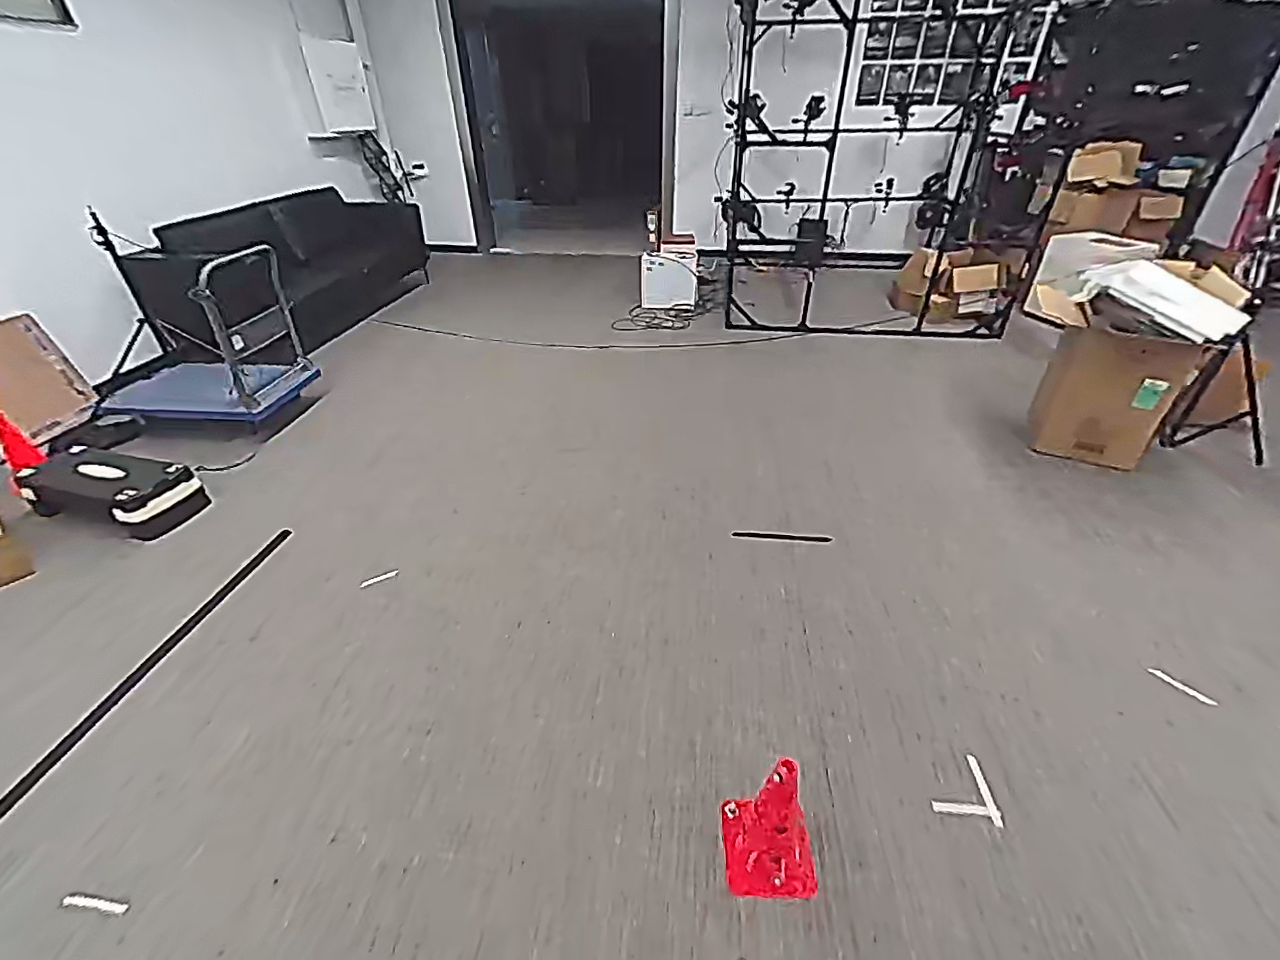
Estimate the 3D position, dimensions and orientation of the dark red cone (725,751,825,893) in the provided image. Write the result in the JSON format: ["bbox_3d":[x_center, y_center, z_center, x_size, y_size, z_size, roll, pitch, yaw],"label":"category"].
[{"bbox_3d":[0.297,0.681,1.125,0.202,0.394,0.201,0,36,1],"label":"dark red cone"}]
